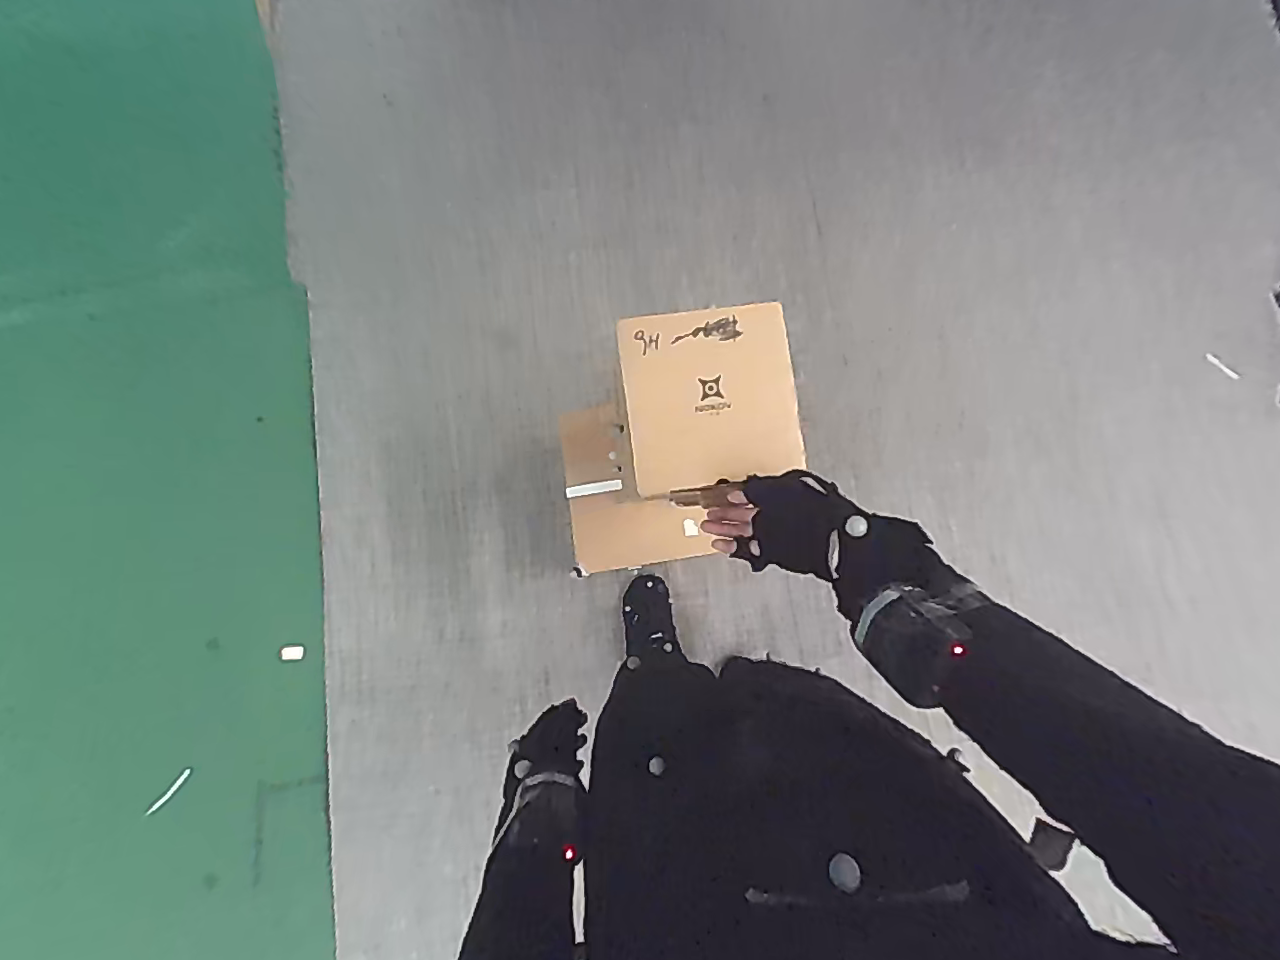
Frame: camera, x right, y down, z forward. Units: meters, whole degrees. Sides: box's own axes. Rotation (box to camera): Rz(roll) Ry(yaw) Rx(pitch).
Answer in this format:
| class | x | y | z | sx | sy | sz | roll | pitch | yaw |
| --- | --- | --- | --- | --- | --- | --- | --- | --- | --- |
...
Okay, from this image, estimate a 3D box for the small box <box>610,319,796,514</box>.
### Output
| class | x | y | z | sx | sy | sz | roll | pitch | yaw |
| --- | --- | --- | --- | --- | --- | --- | --- | --- | --- |
| small box | 0.060 | -0.060 | 0.606 | 0.168 | 0.176 | 0.179 | -8 | 87 | -3 |
